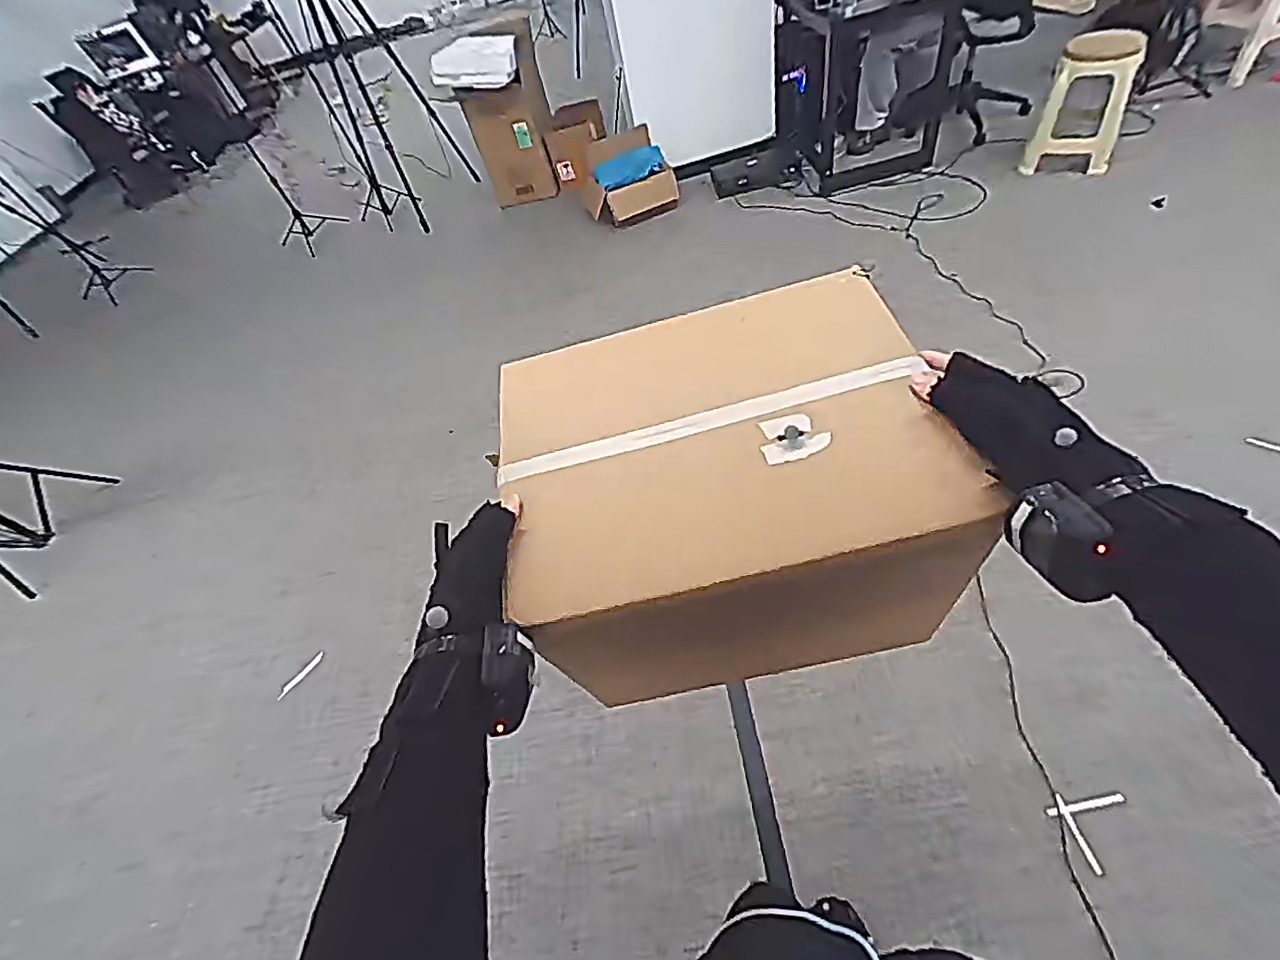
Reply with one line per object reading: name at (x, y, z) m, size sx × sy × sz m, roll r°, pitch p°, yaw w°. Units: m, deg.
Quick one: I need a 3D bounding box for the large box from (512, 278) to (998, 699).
large box at (0.096, 0.029, 0.642) m, size 0.408 × 0.320 × 0.320 m, roll -14°, pitch 55°, yaw 4°
